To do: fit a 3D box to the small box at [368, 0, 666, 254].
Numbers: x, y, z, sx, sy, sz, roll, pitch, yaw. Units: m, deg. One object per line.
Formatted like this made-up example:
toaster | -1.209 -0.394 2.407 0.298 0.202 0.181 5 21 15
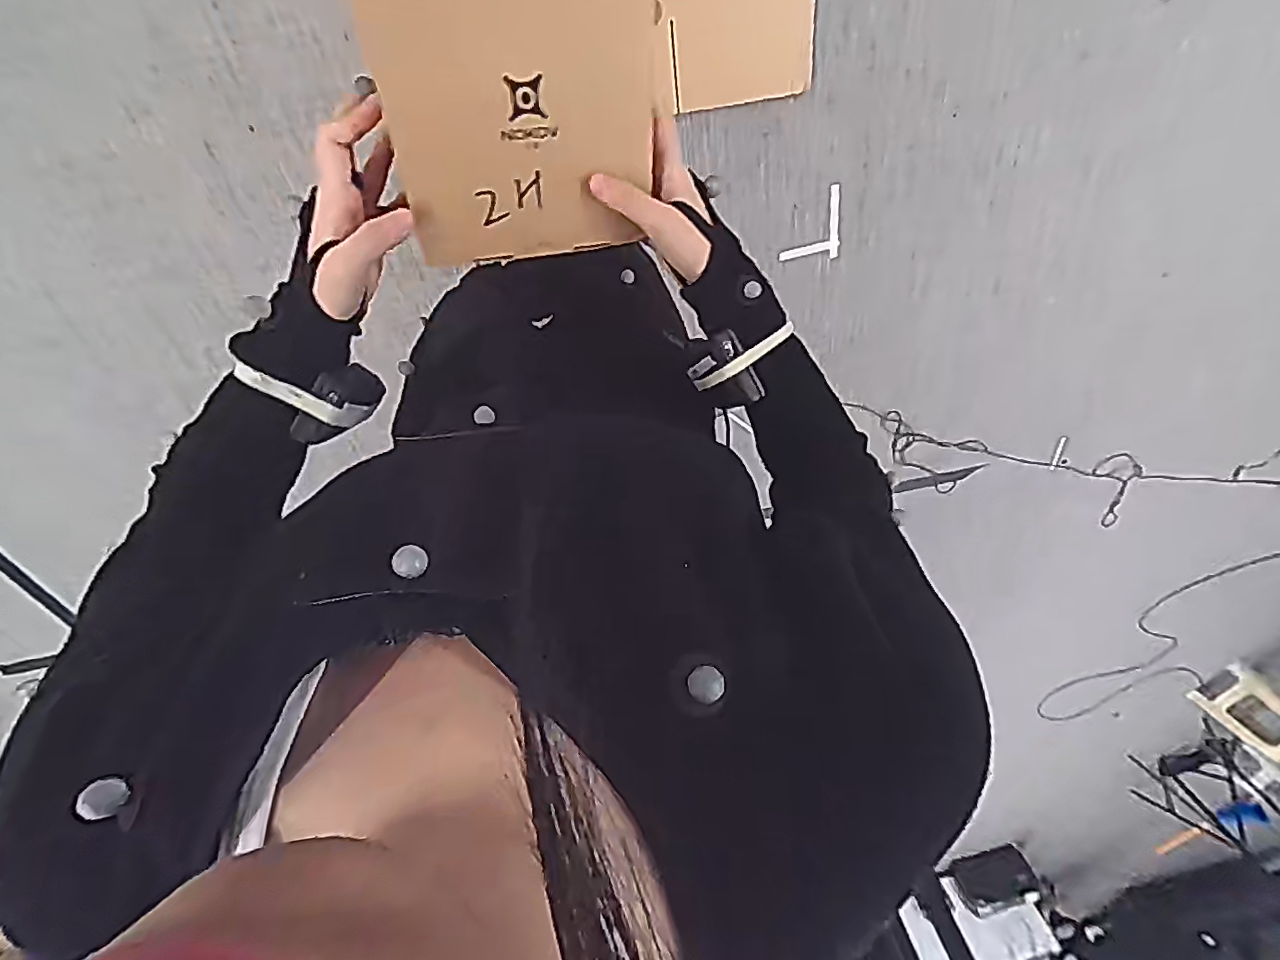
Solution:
small box | -0.088 -0.283 0.380 0.168 0.176 0.179 -11 136 -12
